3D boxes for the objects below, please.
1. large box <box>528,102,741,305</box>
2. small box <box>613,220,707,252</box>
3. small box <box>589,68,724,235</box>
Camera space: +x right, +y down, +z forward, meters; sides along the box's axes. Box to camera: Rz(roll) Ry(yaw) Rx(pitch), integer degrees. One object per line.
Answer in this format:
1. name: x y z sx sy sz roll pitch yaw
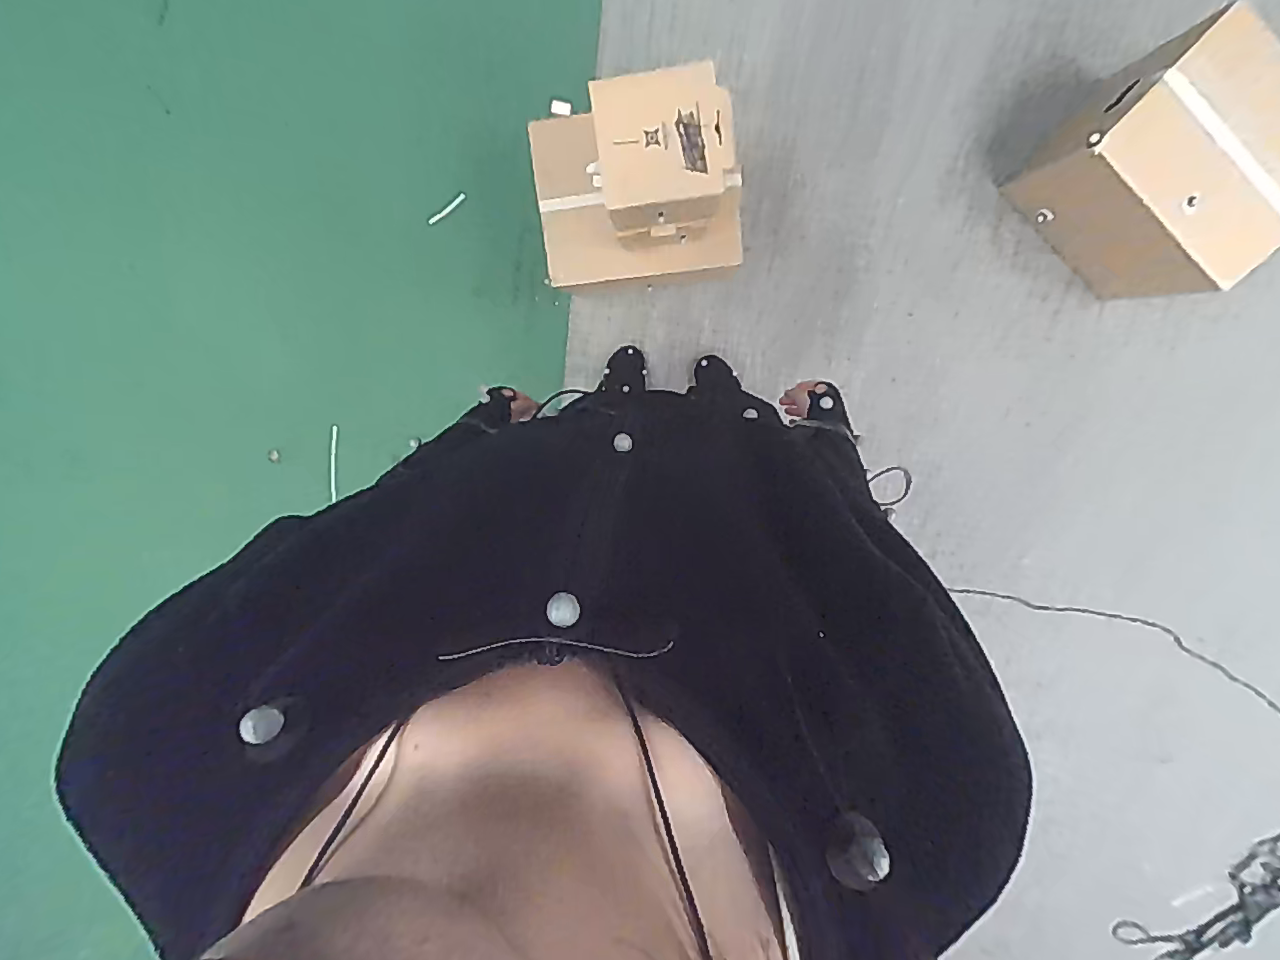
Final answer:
1. large box: 0.003 -0.589 1.225 0.408 0.320 0.320 -5 102 6
2. small box: 0.033 -0.522 0.987 0.168 0.176 0.179 -5 103 4
3. small box: 0.027 -0.487 0.827 0.179 0.176 0.168 -6 103 5
